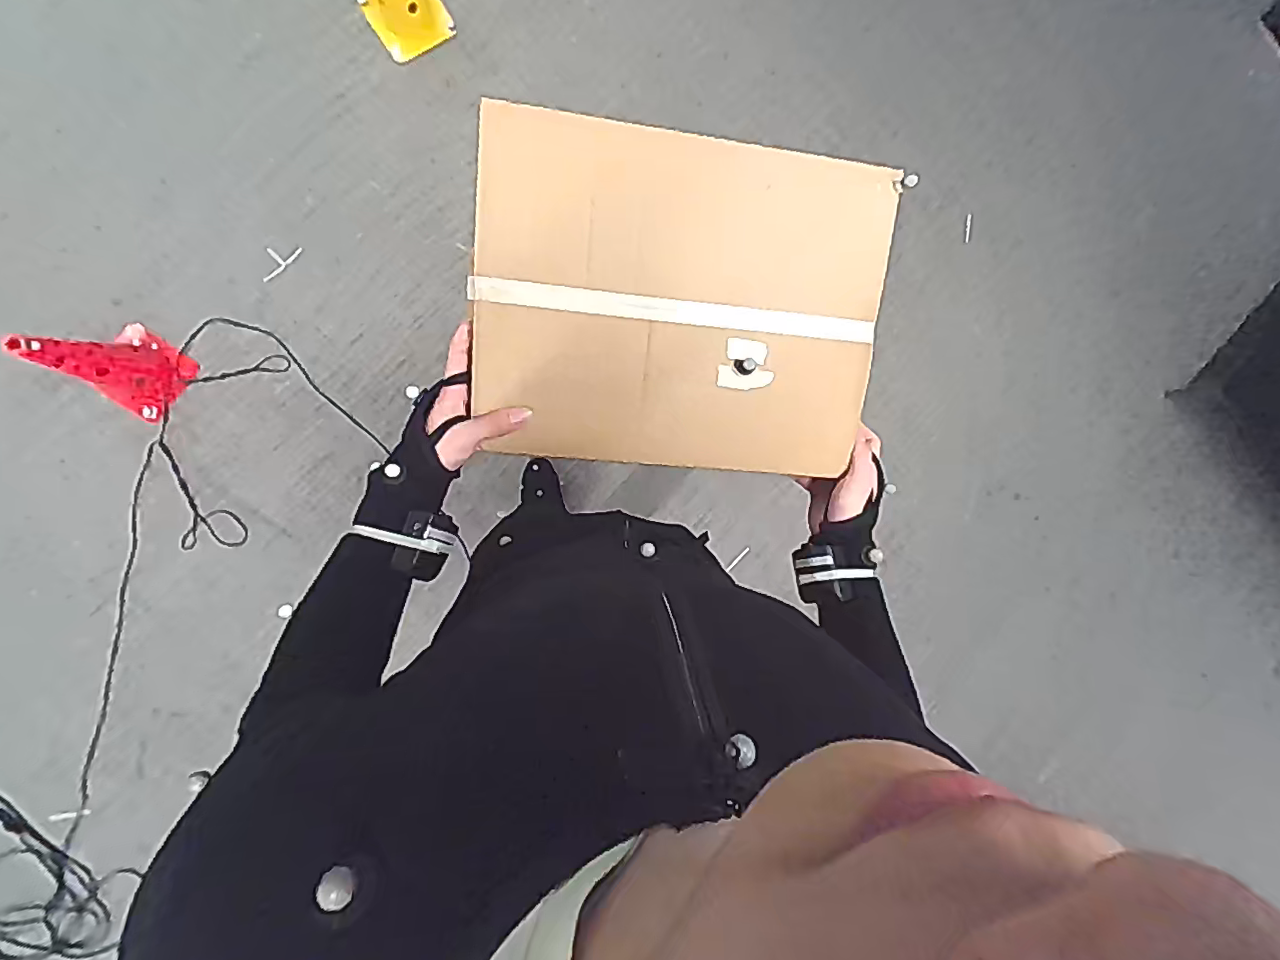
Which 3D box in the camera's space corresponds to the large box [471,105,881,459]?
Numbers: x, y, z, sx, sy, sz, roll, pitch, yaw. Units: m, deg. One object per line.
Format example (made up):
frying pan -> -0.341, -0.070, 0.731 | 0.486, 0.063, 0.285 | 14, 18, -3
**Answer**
large box -> 0.014, -0.210, 0.683 | 0.408, 0.320, 0.320 | 3, 103, -10
